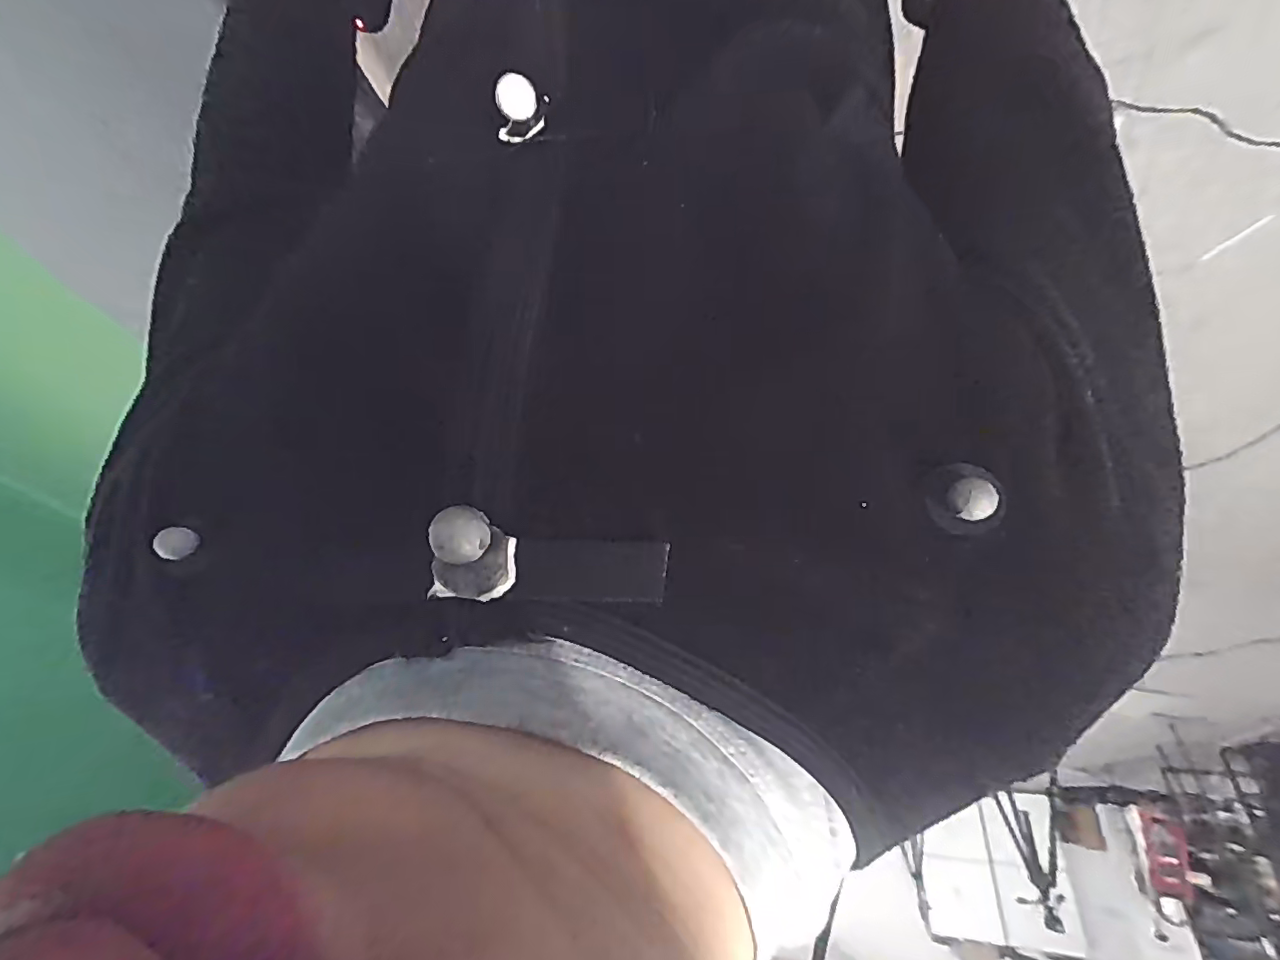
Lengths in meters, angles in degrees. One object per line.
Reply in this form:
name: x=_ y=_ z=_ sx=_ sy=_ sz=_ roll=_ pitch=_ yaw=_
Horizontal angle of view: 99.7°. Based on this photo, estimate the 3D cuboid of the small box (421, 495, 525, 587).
small box: x=-0.403 y=0.151 z=1.345 sx=0.179 sy=0.176 sz=0.168 roll=-8 pitch=142 yaw=21
